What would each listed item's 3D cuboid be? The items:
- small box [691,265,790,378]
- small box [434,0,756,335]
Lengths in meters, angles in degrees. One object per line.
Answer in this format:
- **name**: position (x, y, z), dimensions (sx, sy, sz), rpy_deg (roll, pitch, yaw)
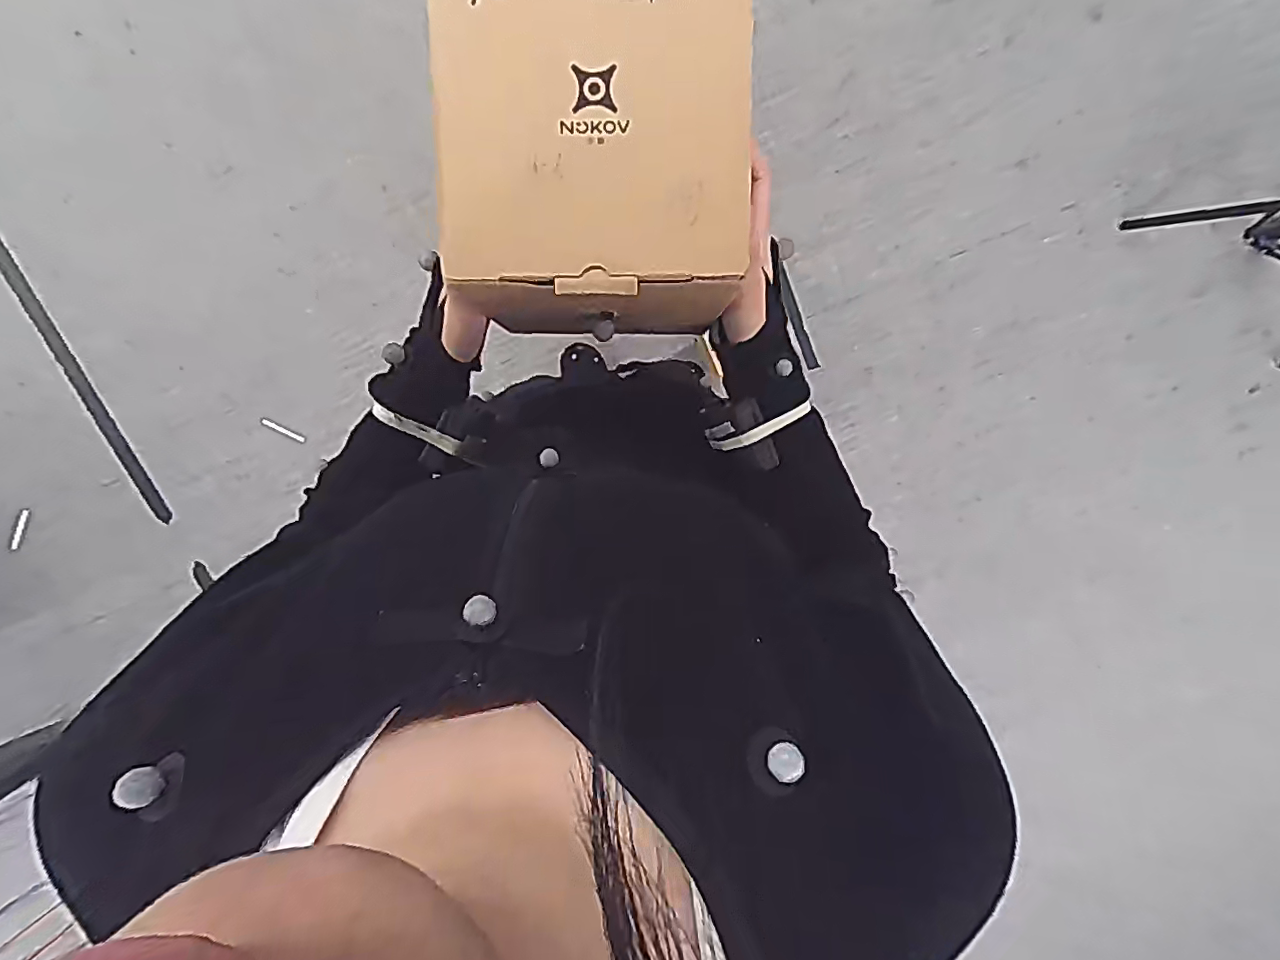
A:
- **small box**: position (0.199, -0.334, 1.168), dimensions (0.168, 0.176, 0.179), rpy_deg (-23, 102, 7)
- **small box**: position (-0.024, -0.194, 0.359), dimensions (0.168, 0.176, 0.179), rpy_deg (0, 97, -1)
